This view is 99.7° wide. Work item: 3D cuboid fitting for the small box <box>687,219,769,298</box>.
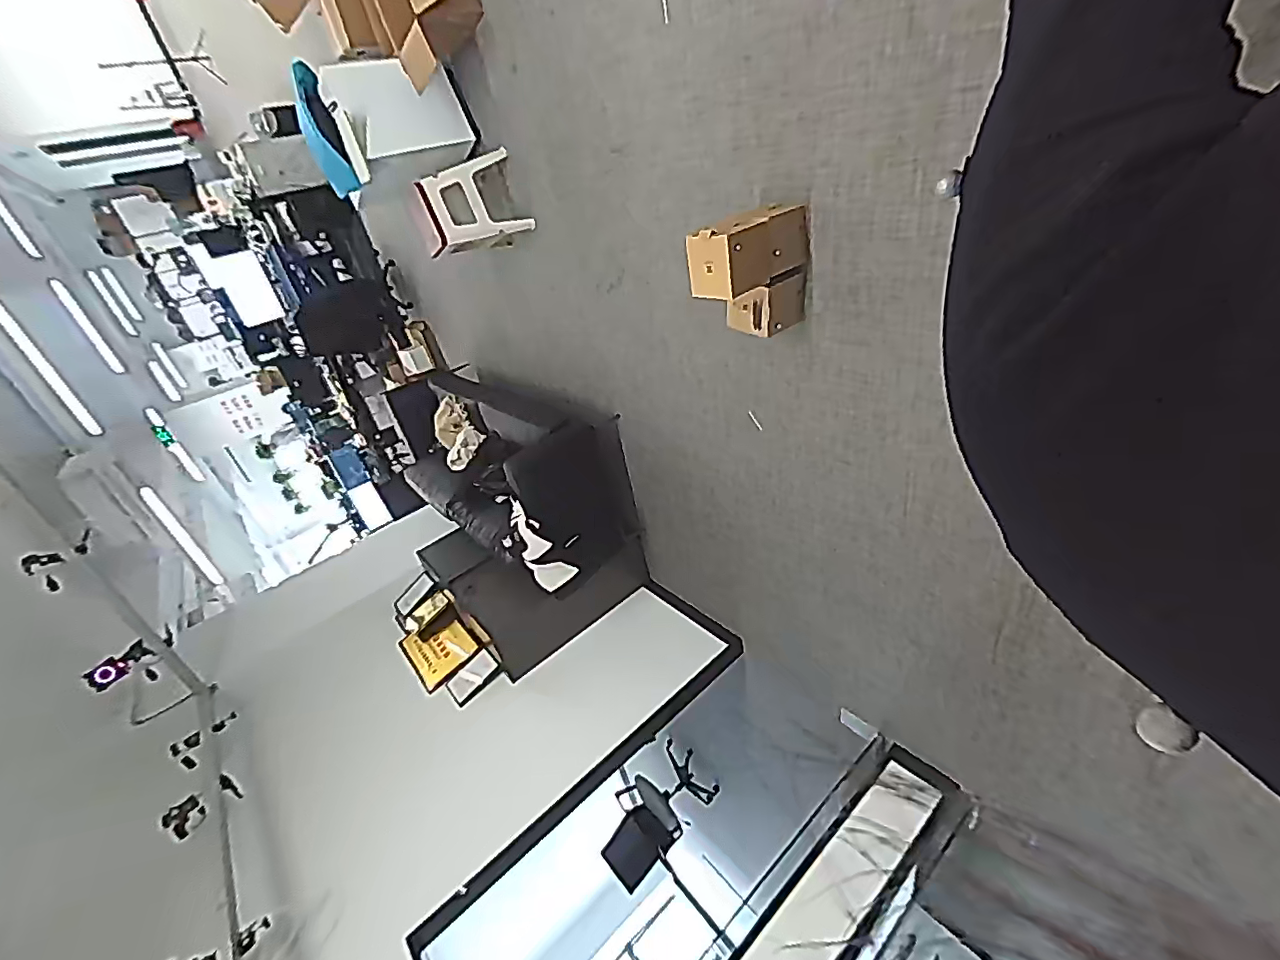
[{"bbox_3d":[0.262,-0.651,1.586,0.168,0.176,0.179,26,137,45],"label":"small box"}]
